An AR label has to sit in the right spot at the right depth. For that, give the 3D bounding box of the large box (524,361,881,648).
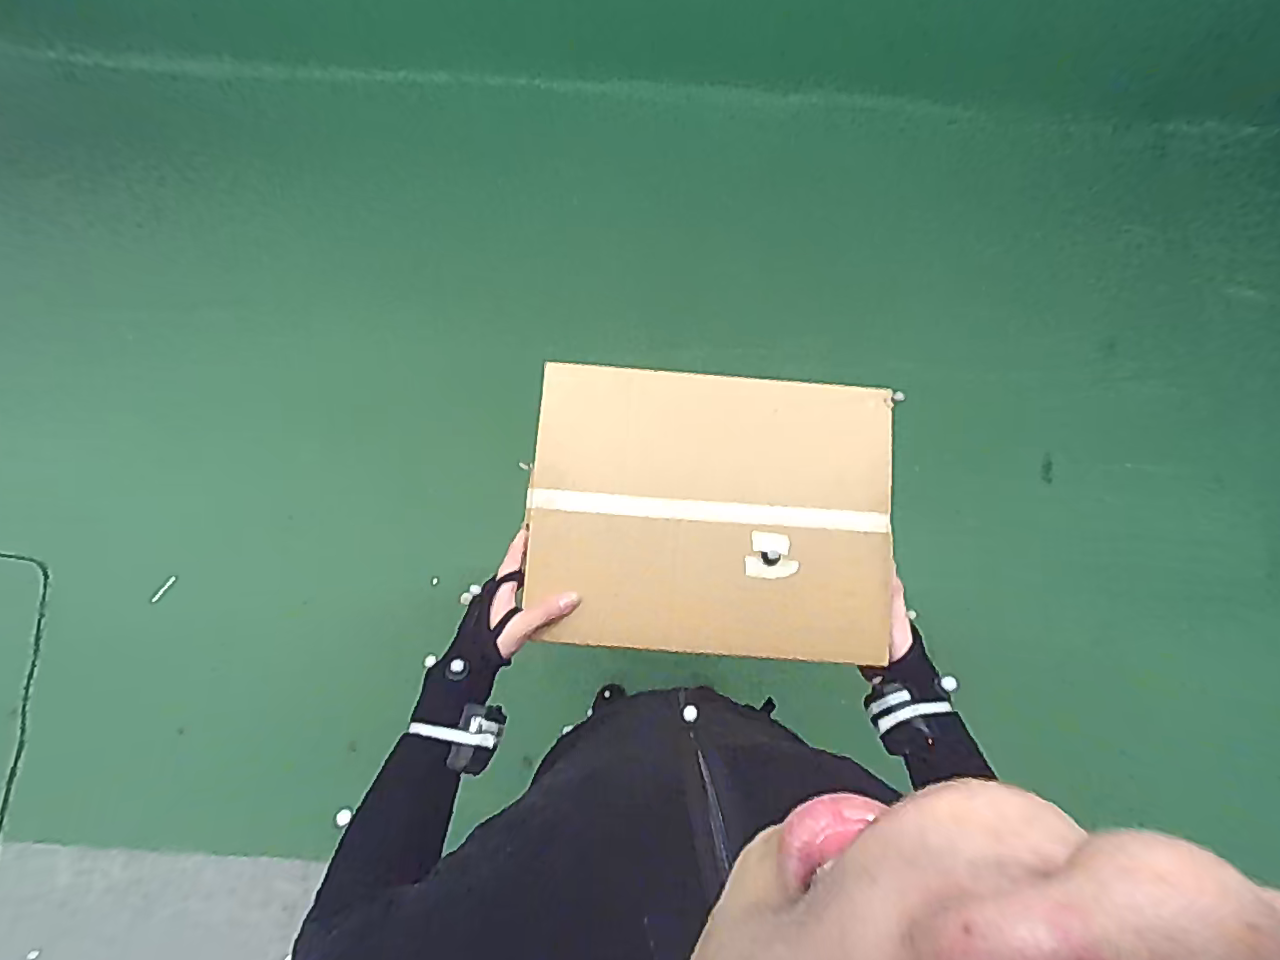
[{"bbox_3d":[0.070,0.044,0.760,0.408,0.320,0.320,4,83,-2],"label":"large box"}]
